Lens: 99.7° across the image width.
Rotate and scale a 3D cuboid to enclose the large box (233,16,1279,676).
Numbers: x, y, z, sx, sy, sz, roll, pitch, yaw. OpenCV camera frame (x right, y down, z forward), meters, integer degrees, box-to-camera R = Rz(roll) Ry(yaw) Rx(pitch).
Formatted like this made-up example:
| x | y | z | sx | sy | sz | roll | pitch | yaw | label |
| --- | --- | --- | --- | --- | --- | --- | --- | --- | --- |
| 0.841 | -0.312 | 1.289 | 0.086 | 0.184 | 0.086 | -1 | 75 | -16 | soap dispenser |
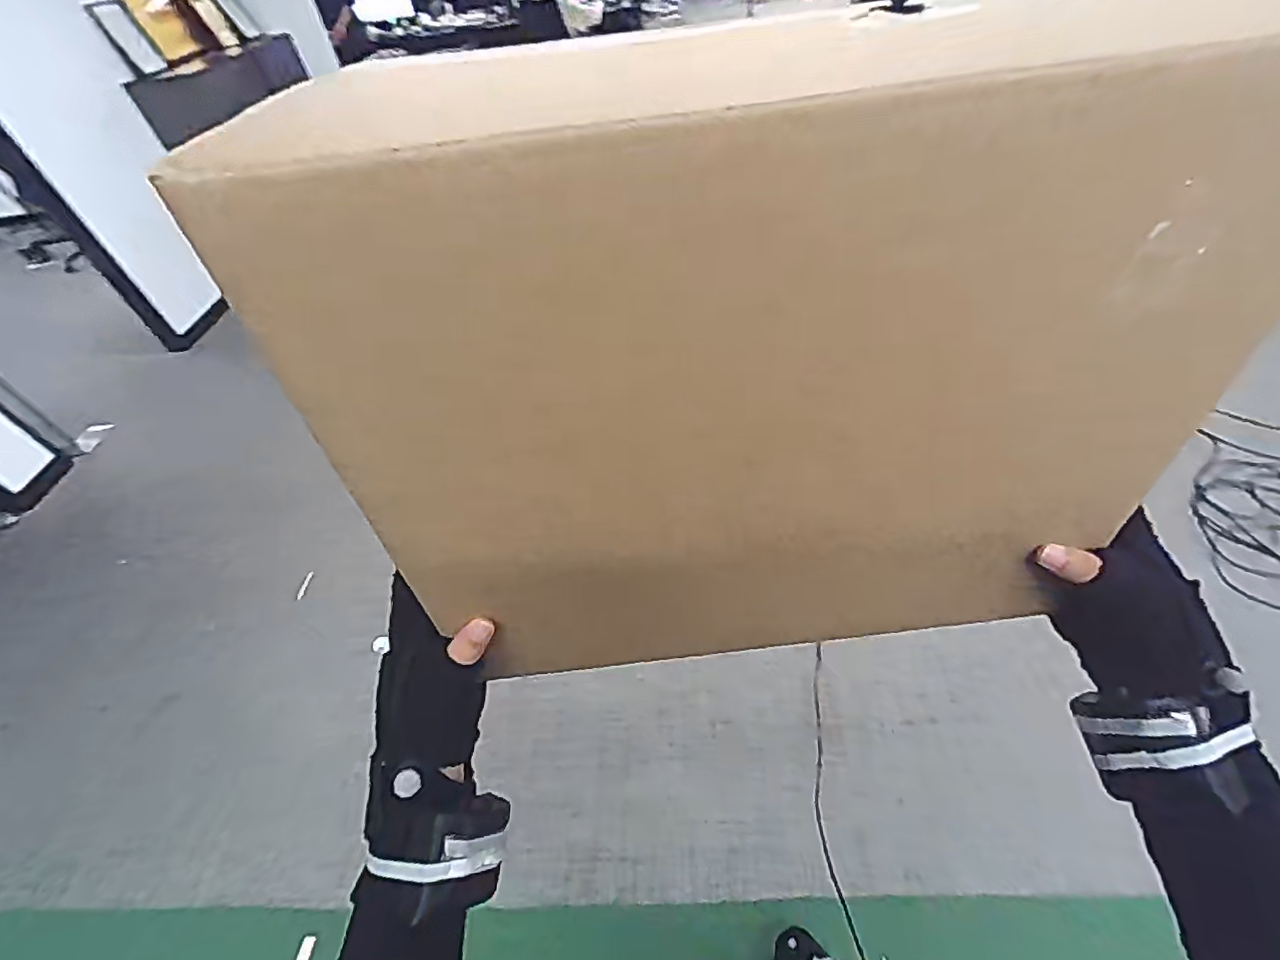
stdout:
| x | y | z | sx | sy | sz | roll | pitch | yaw | label |
| --- | --- | --- | --- | --- | --- | --- | --- | --- | --- |
| 0.065 | -0.098 | 0.378 | 0.408 | 0.320 | 0.320 | -6 | 43 | -1 | large box |
